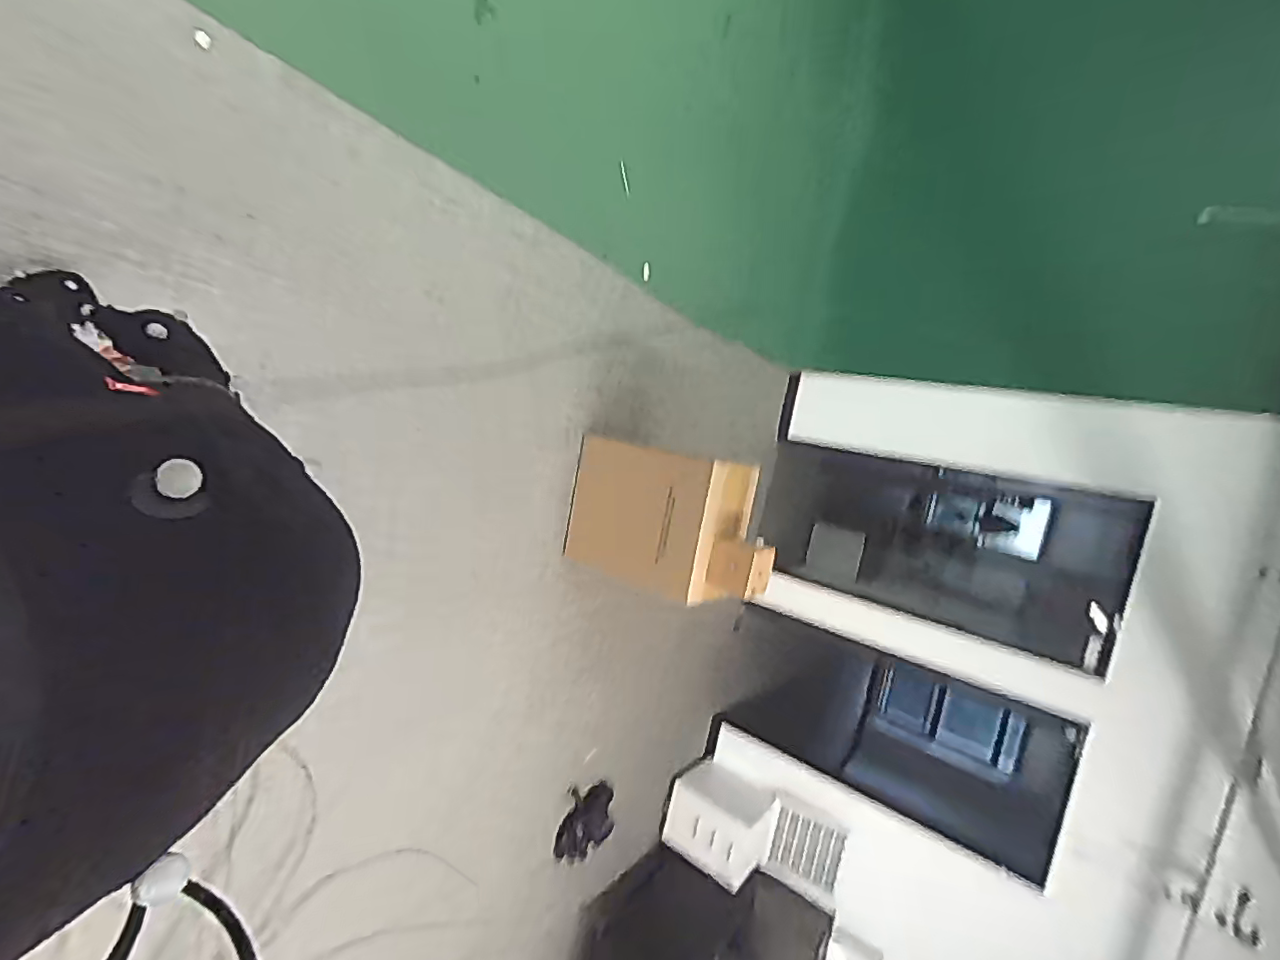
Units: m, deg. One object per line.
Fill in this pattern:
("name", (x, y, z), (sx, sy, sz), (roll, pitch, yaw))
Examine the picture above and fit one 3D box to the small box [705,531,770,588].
("small box", (0.360, 0.289, 2.009), (0.168, 0.176, 0.179), (6, 97, -50))
